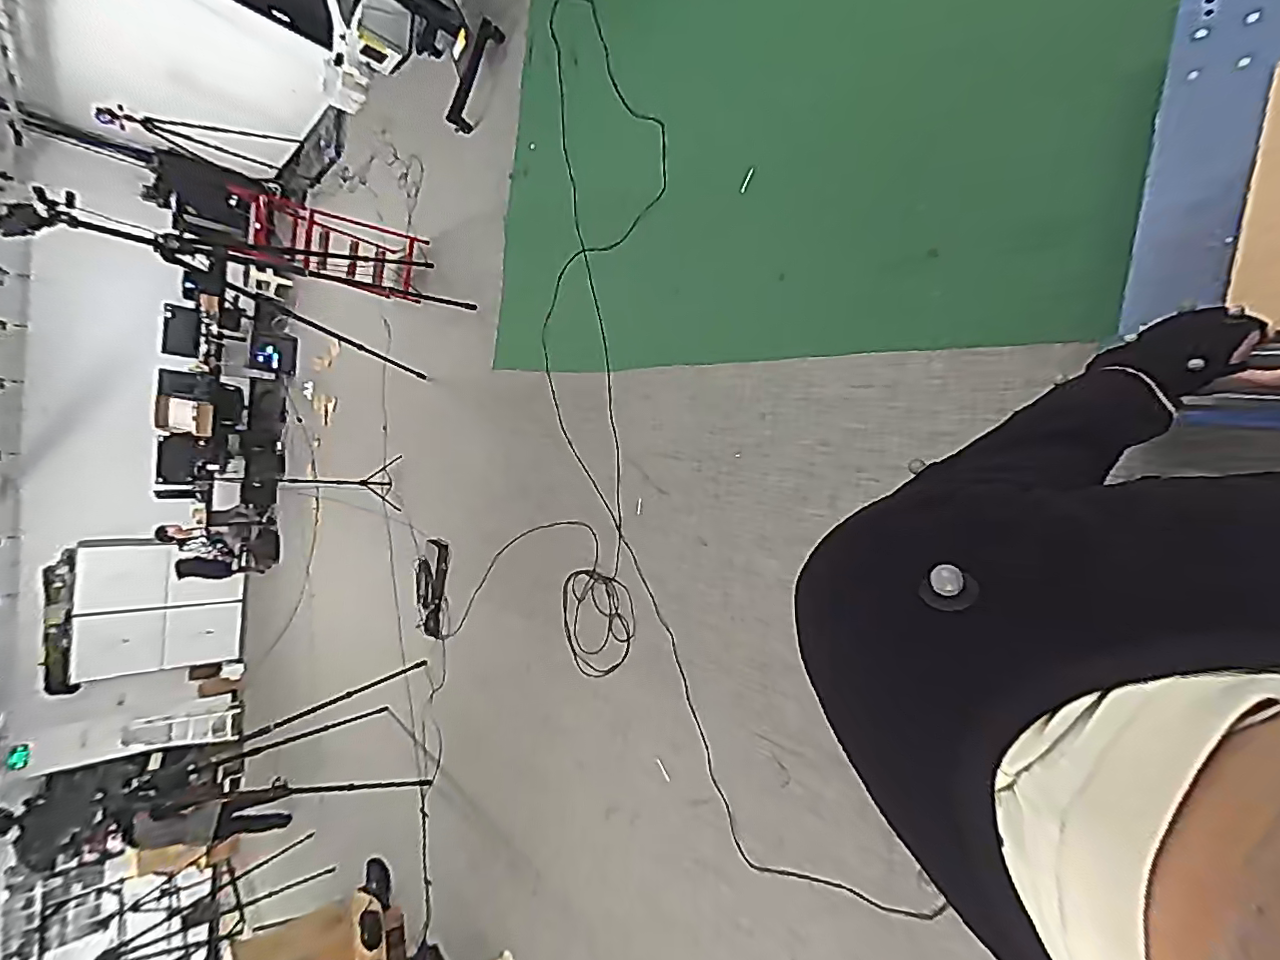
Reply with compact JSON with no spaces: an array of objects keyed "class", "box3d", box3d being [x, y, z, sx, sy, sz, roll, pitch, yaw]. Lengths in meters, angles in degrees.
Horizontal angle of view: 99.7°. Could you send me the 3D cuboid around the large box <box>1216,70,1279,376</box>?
[{"class":"large box","box3d":[1.129,-0.388,0.820,0.320,0.320,0.408,11,94,44]}]
